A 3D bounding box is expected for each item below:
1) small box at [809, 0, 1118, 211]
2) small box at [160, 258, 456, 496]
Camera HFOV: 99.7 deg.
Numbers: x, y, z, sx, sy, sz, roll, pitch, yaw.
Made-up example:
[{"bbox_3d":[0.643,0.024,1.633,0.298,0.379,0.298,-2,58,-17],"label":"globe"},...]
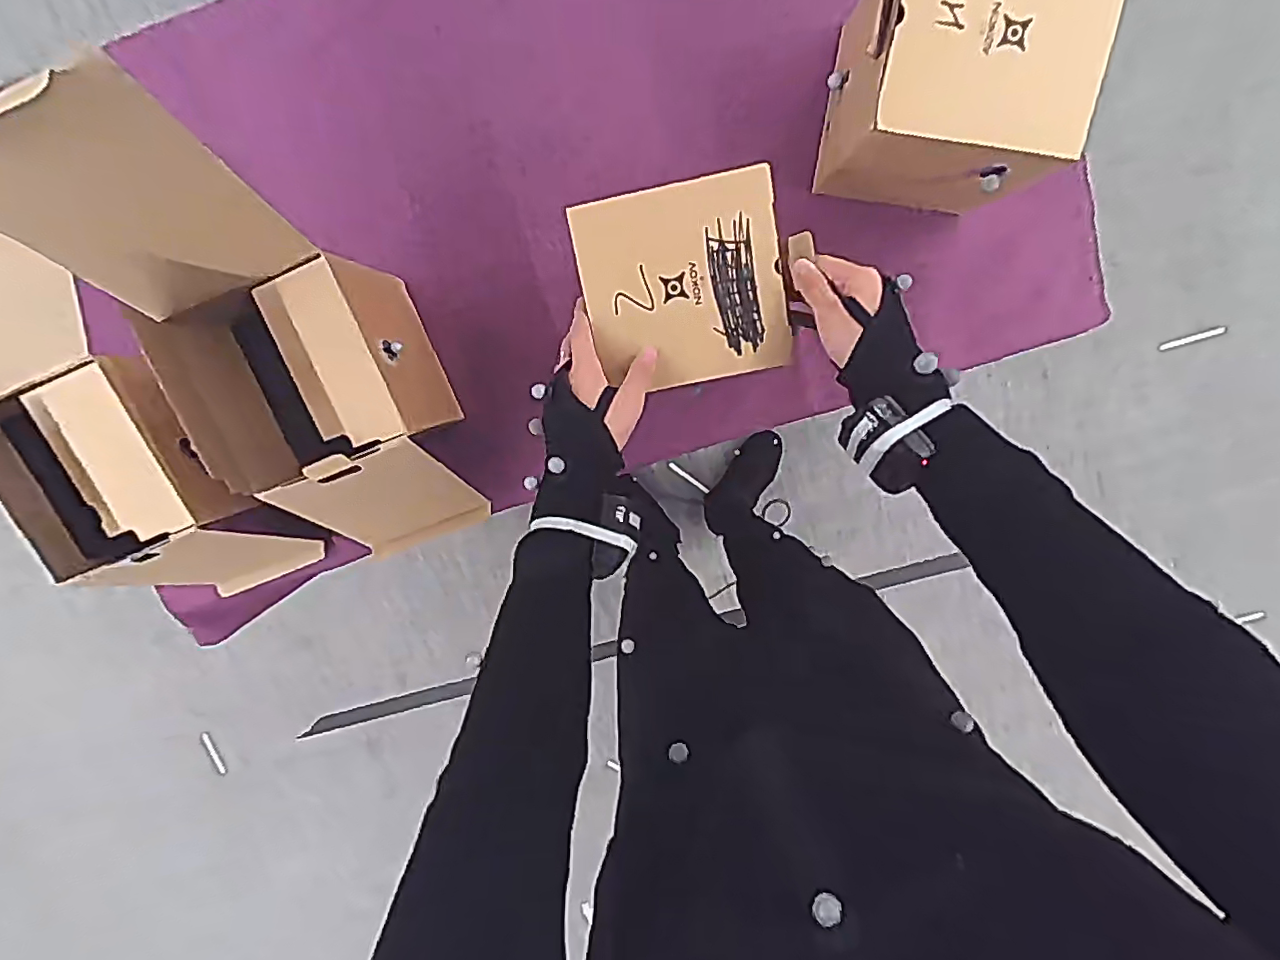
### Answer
[{"bbox_3d":[0.279,-0.365,0.500,0.179,0.176,0.168,8,102,-1],"label":"small box"},{"bbox_3d":[-0.321,-0.106,0.568,0.168,0.176,0.179,-20,101,4],"label":"small box"}]
